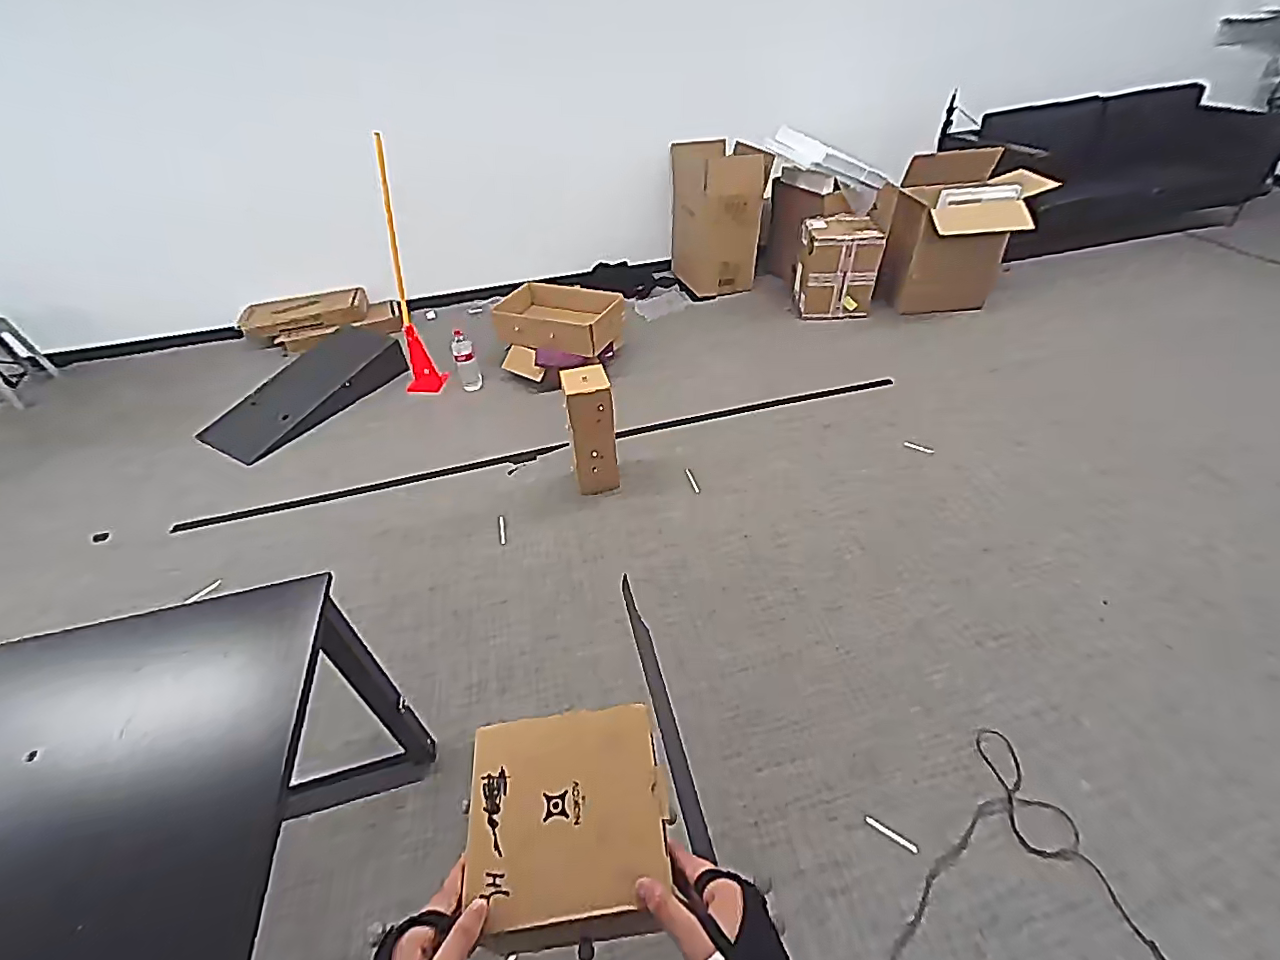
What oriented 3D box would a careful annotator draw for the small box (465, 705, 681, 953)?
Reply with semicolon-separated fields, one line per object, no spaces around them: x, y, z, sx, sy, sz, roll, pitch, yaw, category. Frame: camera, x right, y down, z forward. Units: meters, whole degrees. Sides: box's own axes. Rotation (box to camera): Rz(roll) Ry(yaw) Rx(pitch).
-0.061;0.350;0.545;0.179;0.176;0.168;-5;43;-5;small box

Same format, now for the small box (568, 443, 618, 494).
-0.197;-0.059;2.271;0.179;0.176;0.168;-11;42;-9;small box

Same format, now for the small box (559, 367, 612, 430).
-0.206;-0.303;2.053;0.168;0.176;0.179;-11;41;-10;small box

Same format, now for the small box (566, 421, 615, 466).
-0.200;-0.179;2.159;0.168;0.176;0.179;-12;43;-9;small box
